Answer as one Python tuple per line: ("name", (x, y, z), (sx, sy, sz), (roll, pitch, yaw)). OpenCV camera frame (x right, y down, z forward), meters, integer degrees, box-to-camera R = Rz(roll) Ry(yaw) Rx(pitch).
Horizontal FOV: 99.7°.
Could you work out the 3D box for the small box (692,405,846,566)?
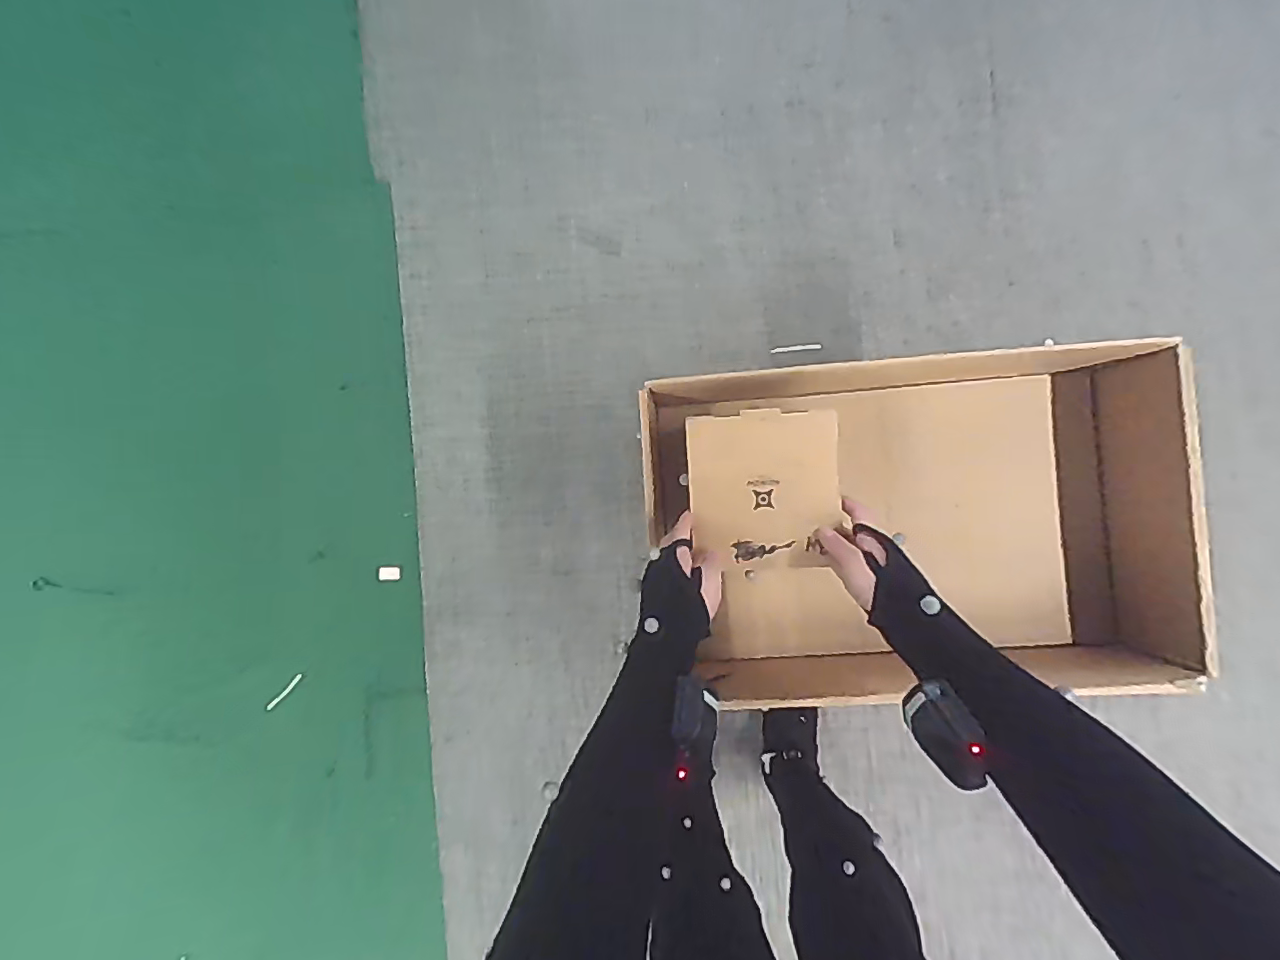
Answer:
("small box", (0.149, 0.007, 0.675), (0.168, 0.176, 0.179), (-2, 91, 7))
